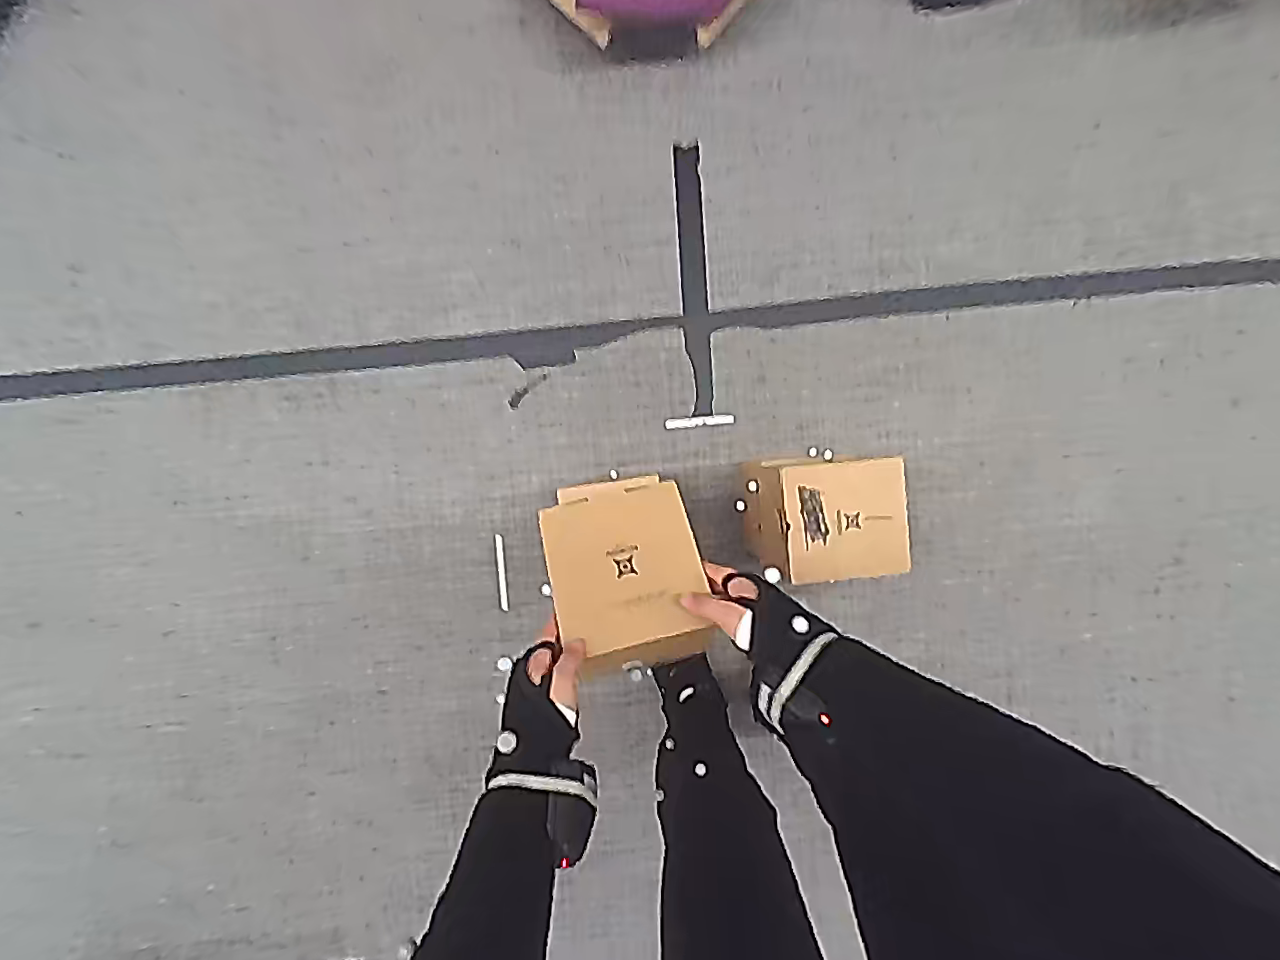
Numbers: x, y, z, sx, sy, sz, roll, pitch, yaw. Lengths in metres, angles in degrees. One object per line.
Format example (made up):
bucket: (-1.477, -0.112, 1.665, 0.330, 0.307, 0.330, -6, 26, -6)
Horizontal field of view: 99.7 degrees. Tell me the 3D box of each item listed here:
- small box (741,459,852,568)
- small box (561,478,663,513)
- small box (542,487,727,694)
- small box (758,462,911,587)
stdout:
small box: (0.286, 0.055, 0.999, 0.168, 0.176, 0.179, -3, 93, -1)
small box: (-0.040, 0.089, 0.991, 0.179, 0.176, 0.168, -8, 92, 0)
small box: (-0.011, 0.136, 0.643, 0.168, 0.176, 0.179, -14, 62, -6)
small box: (0.285, 0.062, 0.833, 0.179, 0.176, 0.168, -5, 92, -2)
